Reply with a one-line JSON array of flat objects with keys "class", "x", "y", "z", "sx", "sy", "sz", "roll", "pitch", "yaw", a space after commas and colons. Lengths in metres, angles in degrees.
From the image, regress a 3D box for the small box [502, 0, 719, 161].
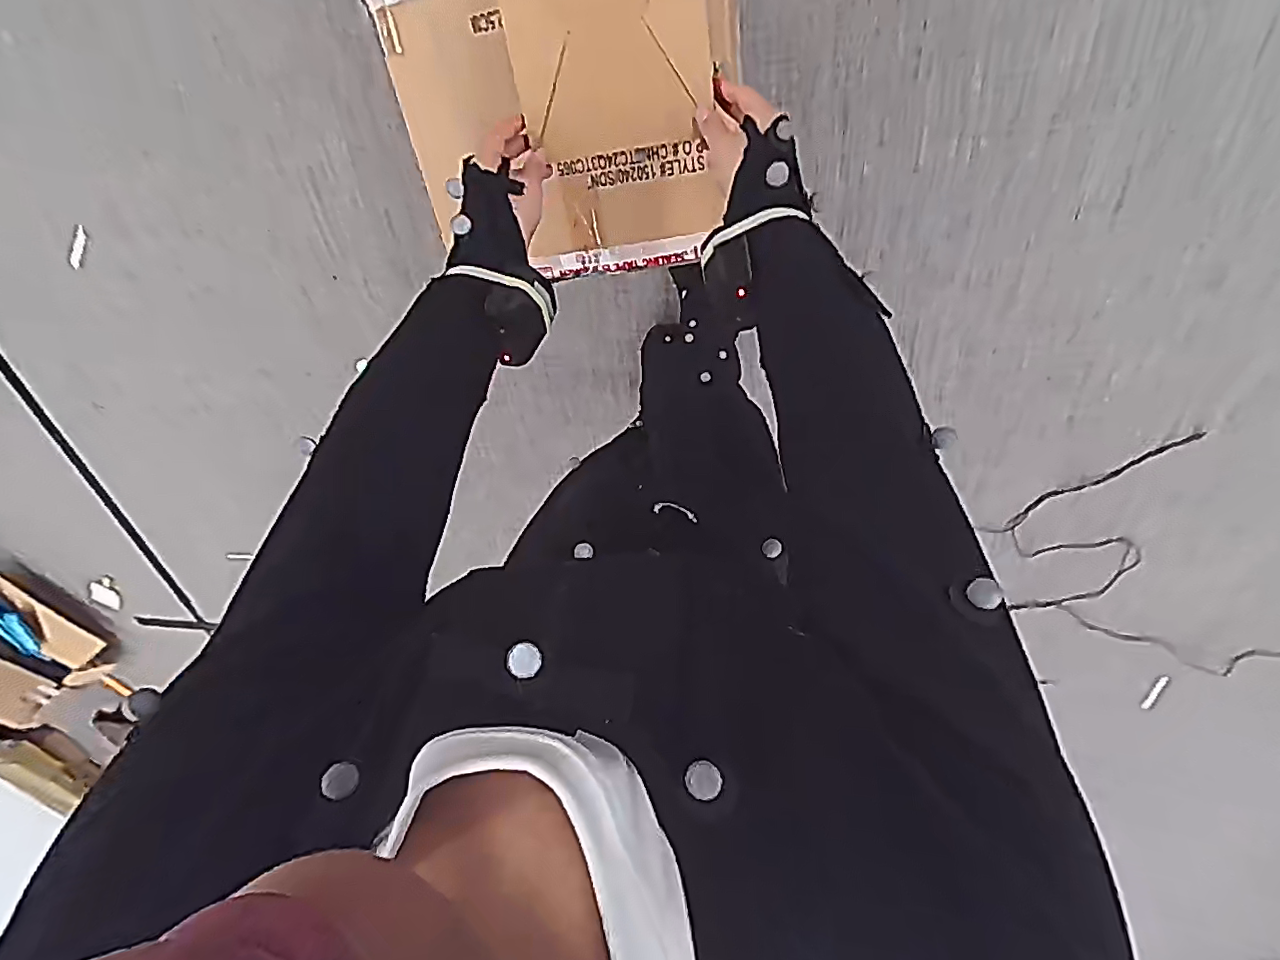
[{"class": "small box", "x": -0.017, "y": -0.406, "z": 0.494, "sx": 0.168, "sy": 0.176, "sz": 0.179, "roll": -3, "pitch": 125, "yaw": 10}]
